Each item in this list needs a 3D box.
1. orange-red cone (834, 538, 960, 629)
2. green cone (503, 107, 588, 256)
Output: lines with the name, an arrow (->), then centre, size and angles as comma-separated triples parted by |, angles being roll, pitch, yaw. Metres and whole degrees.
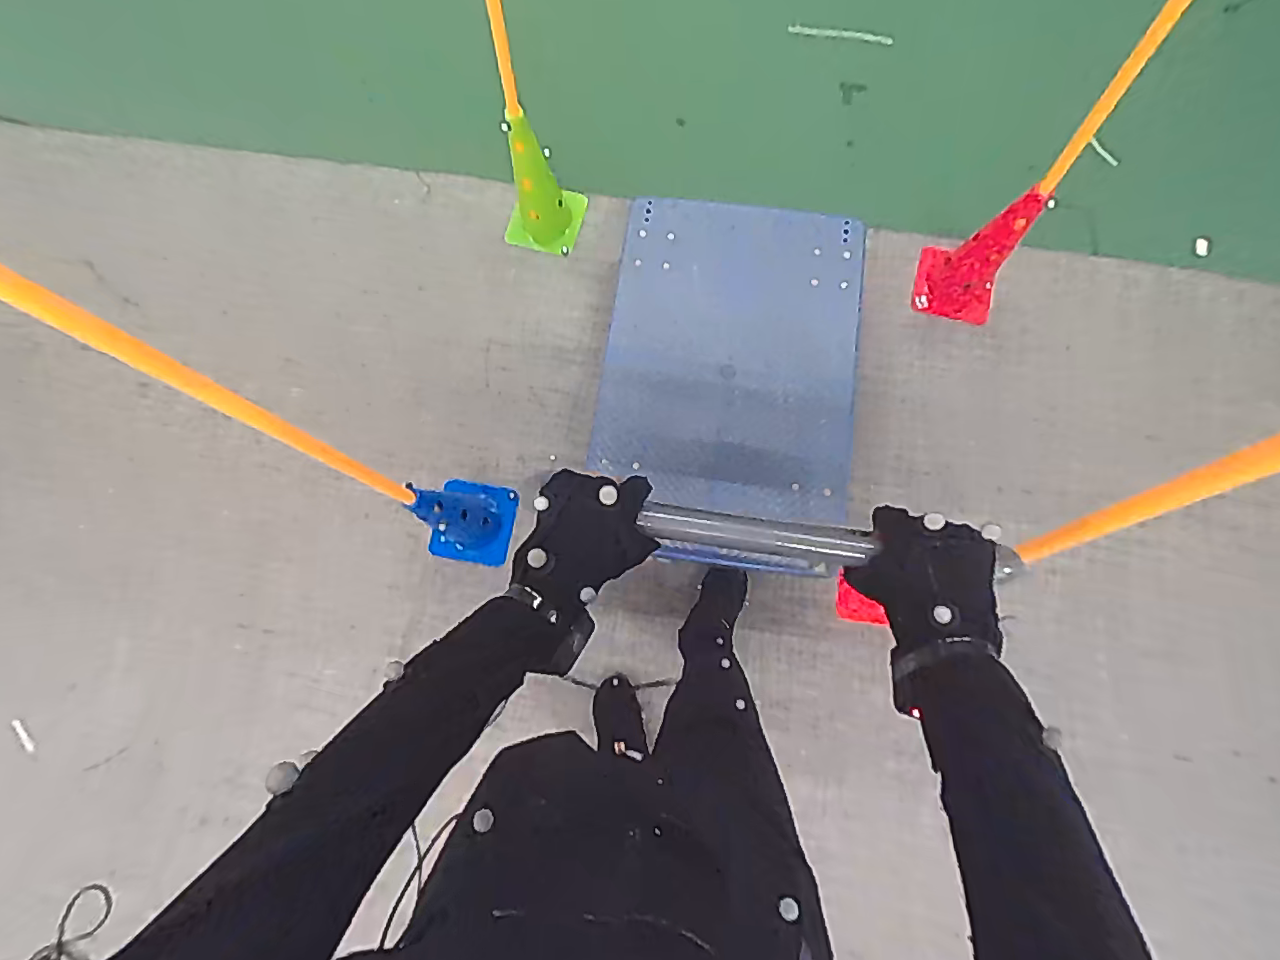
orange-red cone -> 0.566, 0.213, 1.144 | 0.199, 0.360, 0.198 | 9, 78, 6
green cone -> -0.272, -0.779, 1.378 | 0.202, 0.368, 0.200 | 14, 78, 6
